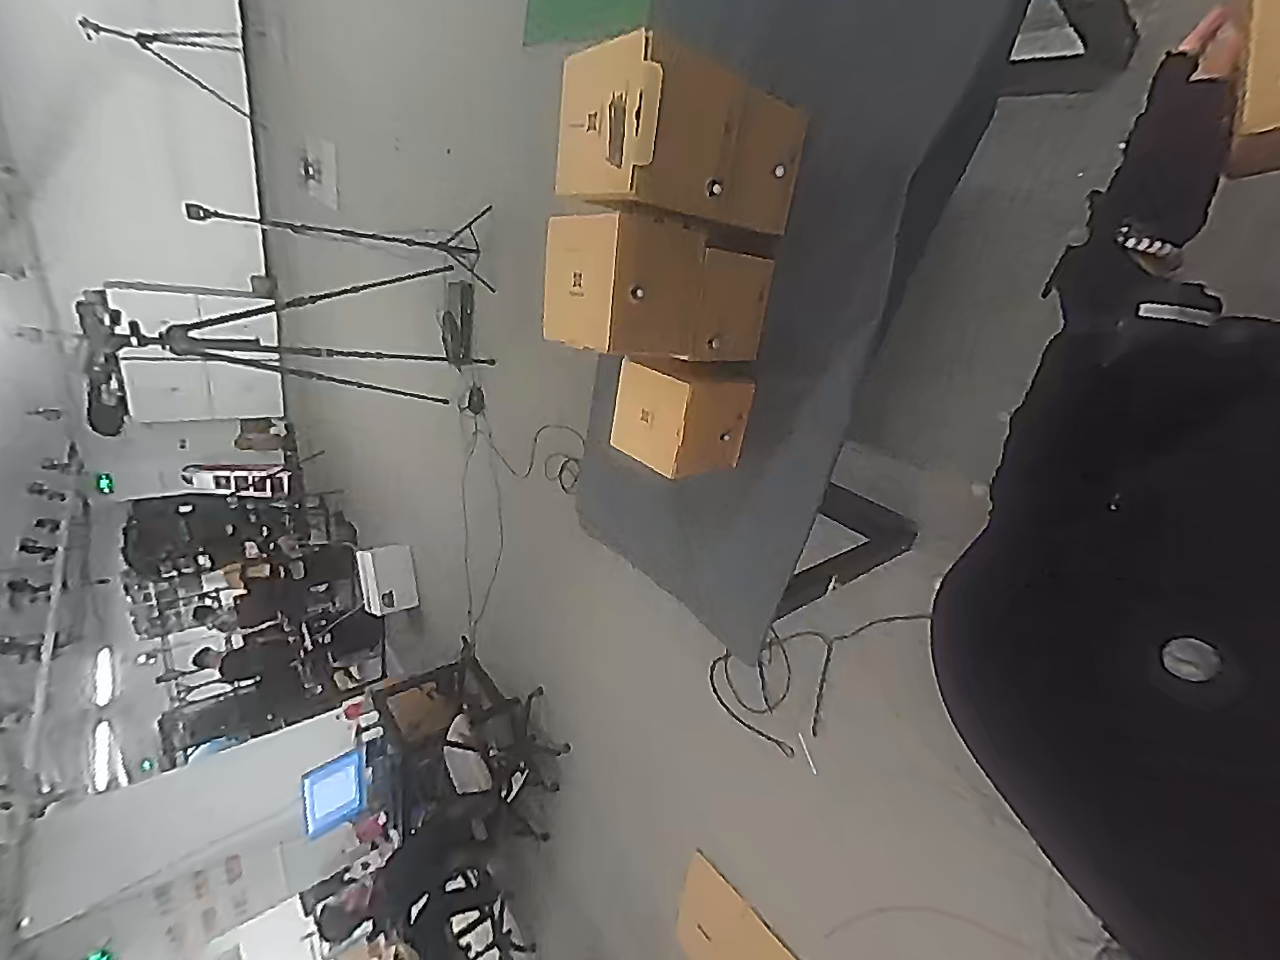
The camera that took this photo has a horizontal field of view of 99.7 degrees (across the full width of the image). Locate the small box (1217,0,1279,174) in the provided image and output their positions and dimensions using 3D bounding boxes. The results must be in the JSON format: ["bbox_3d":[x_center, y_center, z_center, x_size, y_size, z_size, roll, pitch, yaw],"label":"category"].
[{"bbox_3d":[0.452,-0.290,0.291,0.179,0.176,0.168,5,105,44],"label":"small box"}]
